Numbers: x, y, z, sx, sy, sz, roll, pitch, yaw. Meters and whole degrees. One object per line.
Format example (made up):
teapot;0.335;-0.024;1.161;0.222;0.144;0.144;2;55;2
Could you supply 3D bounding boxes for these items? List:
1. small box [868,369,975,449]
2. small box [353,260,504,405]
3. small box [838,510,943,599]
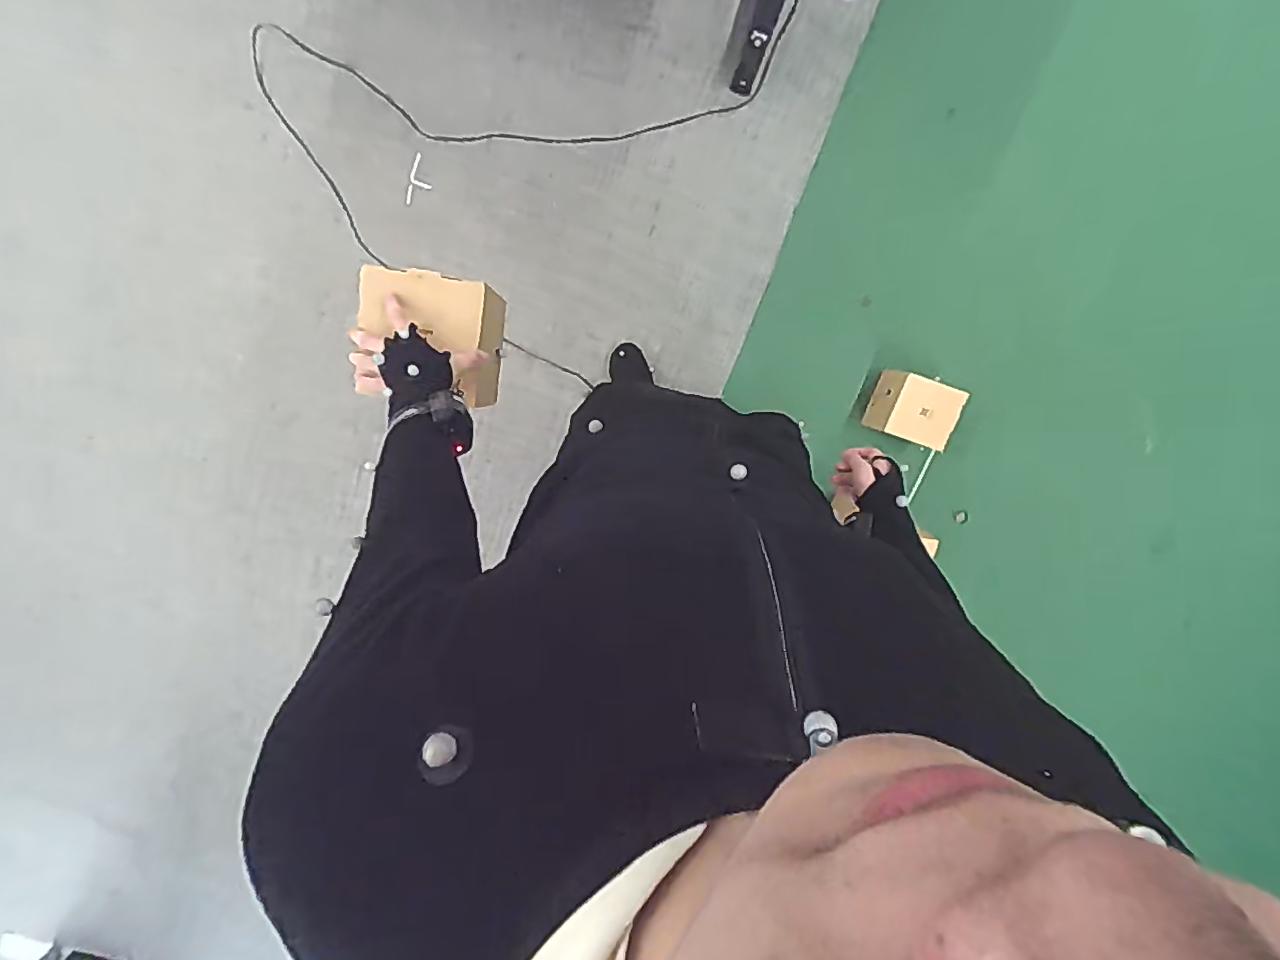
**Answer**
small box;0.762;-0.200;1.486;0.179;0.176;0.168;18;104;-4
small box;-0.310;-0.213;0.821;0.168;0.176;0.179;8;100;-4
small box;0.648;0.190;1.419;0.179;0.176;0.168;11;104;0
